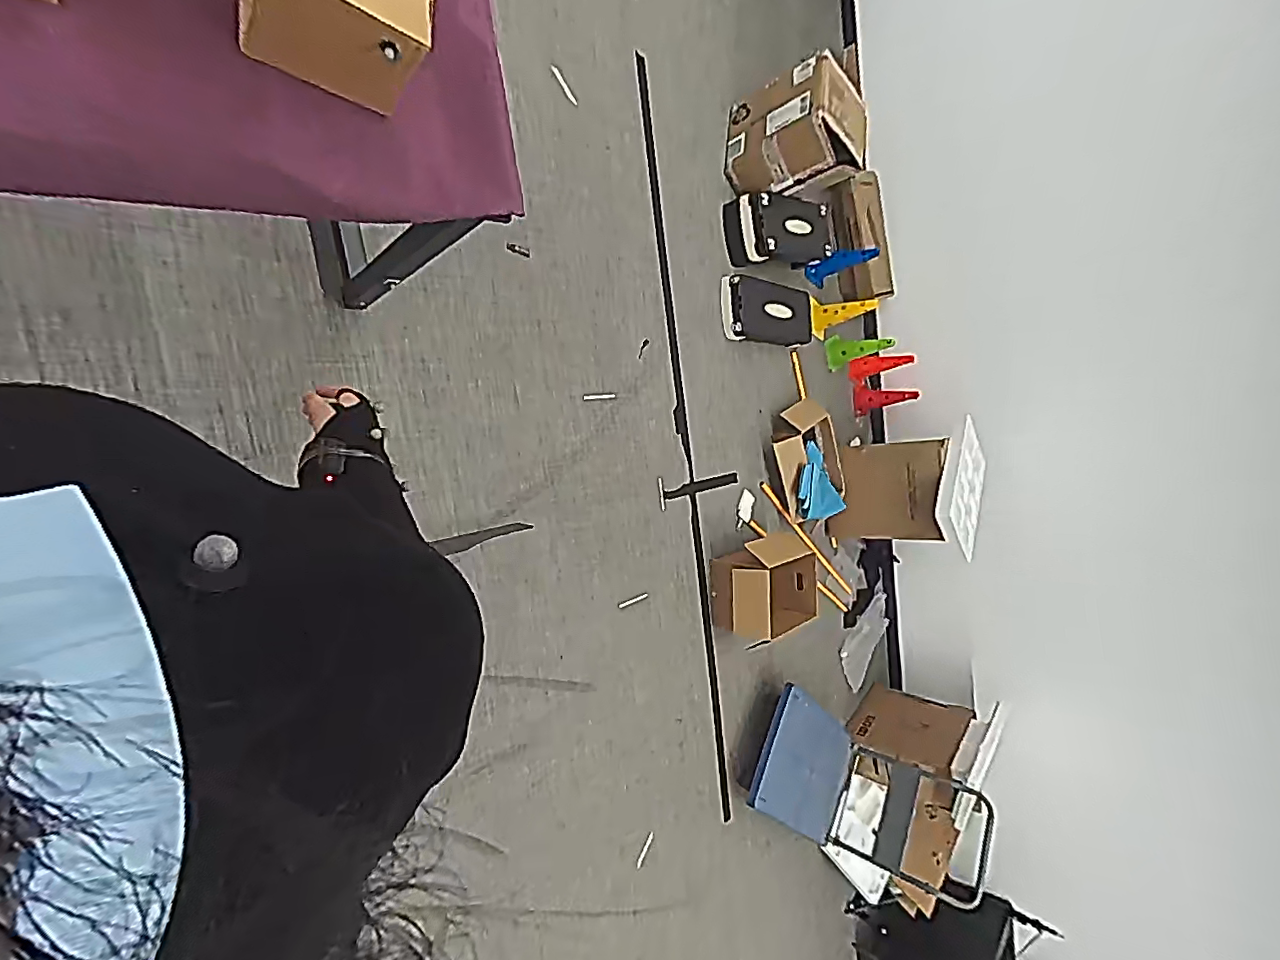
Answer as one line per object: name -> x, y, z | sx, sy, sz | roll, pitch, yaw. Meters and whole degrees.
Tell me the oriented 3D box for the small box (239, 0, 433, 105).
small box -> -0.369, -0.604, 0.654 | 0.179, 0.176, 0.168 | 0, 90, -44
